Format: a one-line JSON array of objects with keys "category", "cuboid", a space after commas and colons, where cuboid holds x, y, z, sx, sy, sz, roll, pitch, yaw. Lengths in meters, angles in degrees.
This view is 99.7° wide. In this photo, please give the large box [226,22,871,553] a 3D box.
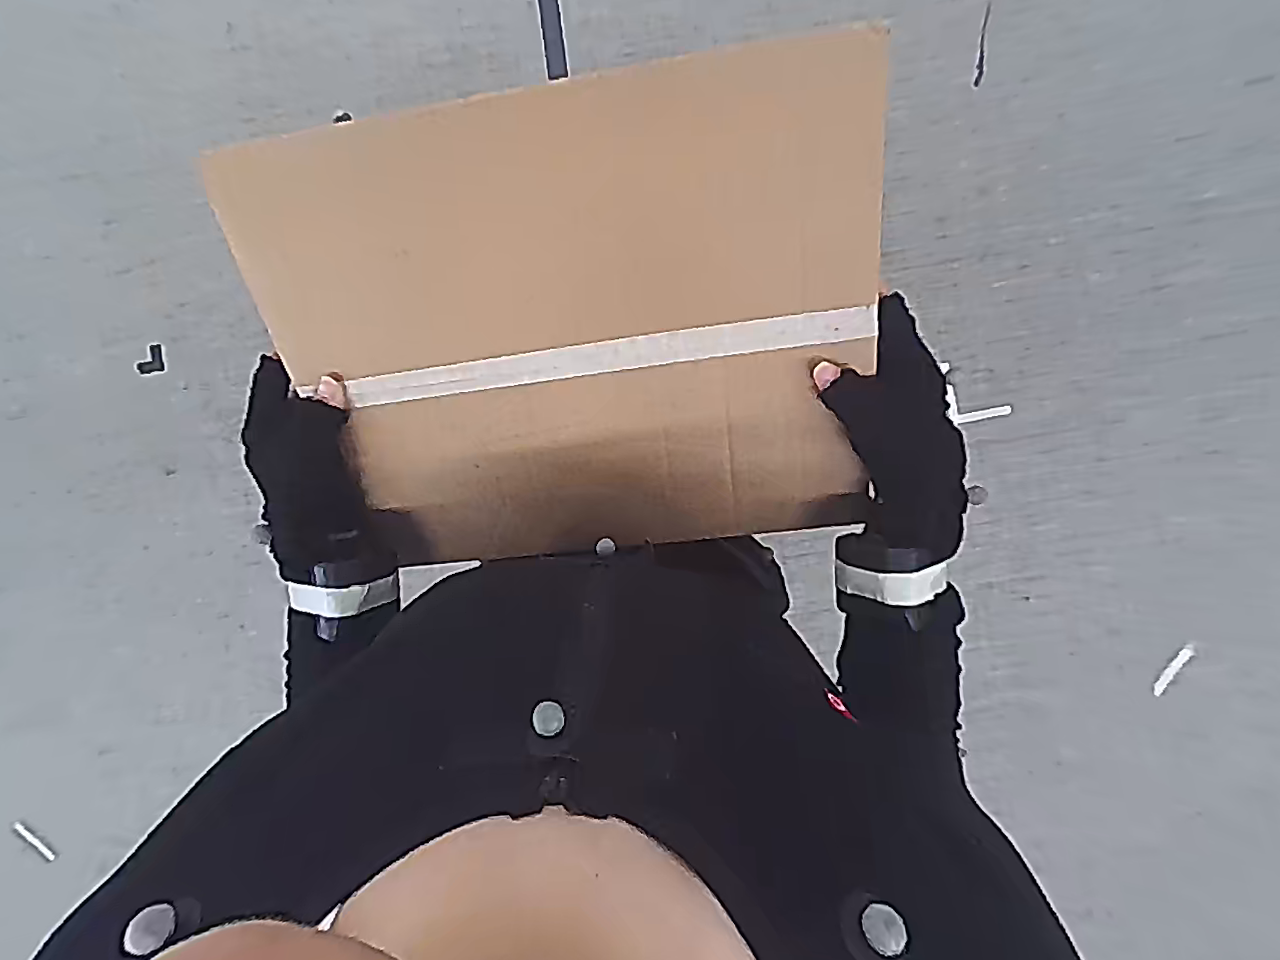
[{"category": "large box", "cuboid": [-0.040, -0.161, 0.516, 0.408, 0.320, 0.320, -6, 119, 7]}]
